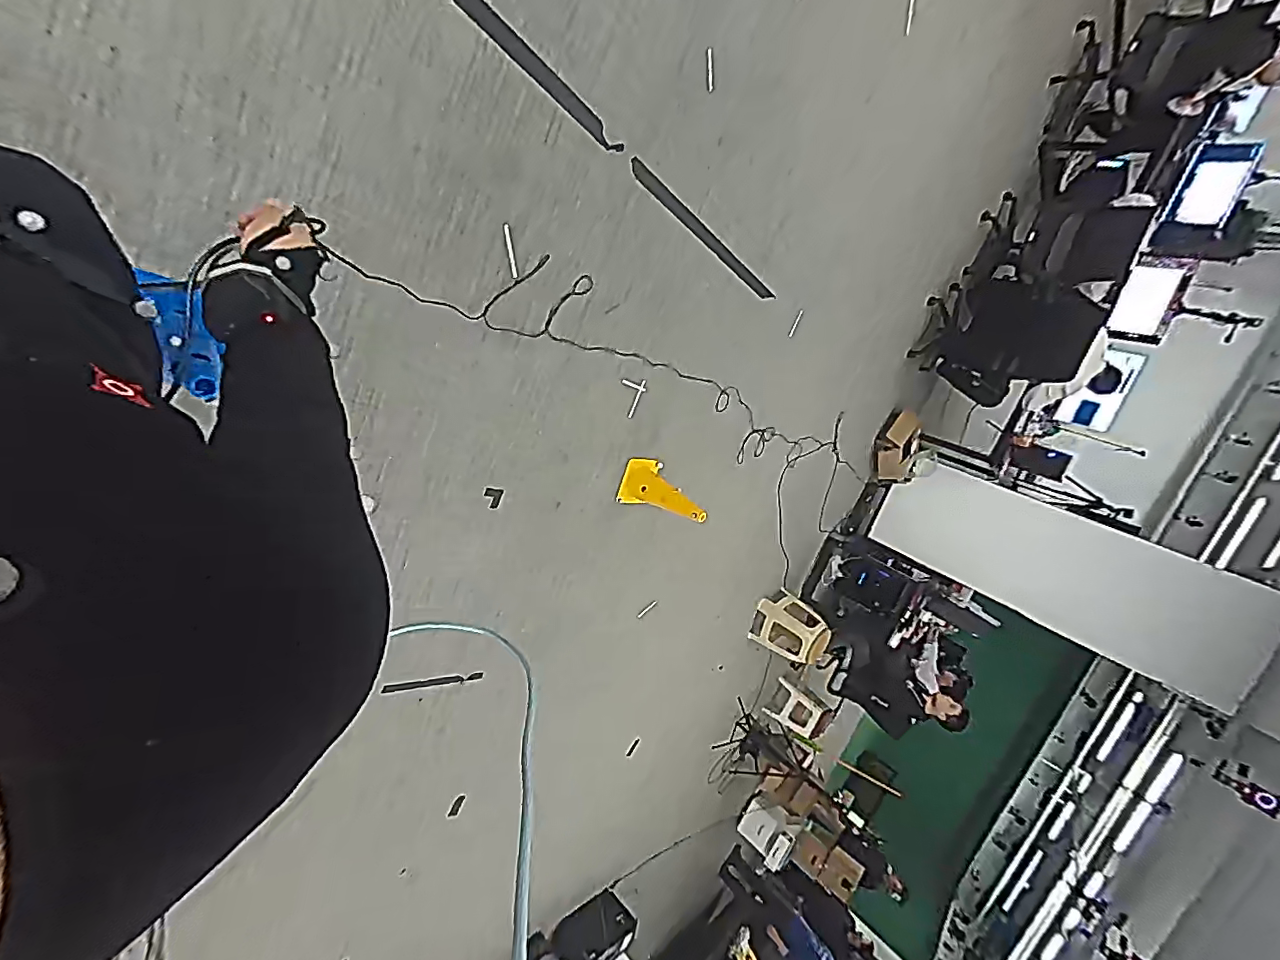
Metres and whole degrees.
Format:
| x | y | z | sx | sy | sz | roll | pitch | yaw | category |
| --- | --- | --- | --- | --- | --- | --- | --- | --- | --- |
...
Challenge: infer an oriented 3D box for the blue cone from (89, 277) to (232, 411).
| x | y | z | sx | sy | sz | roll | pitch | yaw | category |
| --- | --- | --- | --- | --- | --- | --- | --- | --- | --- |
| -0.797 | -0.208 | 0.935 | 0.193 | 0.380 | 0.192 | 14 | 104 | -52 | blue cone |
